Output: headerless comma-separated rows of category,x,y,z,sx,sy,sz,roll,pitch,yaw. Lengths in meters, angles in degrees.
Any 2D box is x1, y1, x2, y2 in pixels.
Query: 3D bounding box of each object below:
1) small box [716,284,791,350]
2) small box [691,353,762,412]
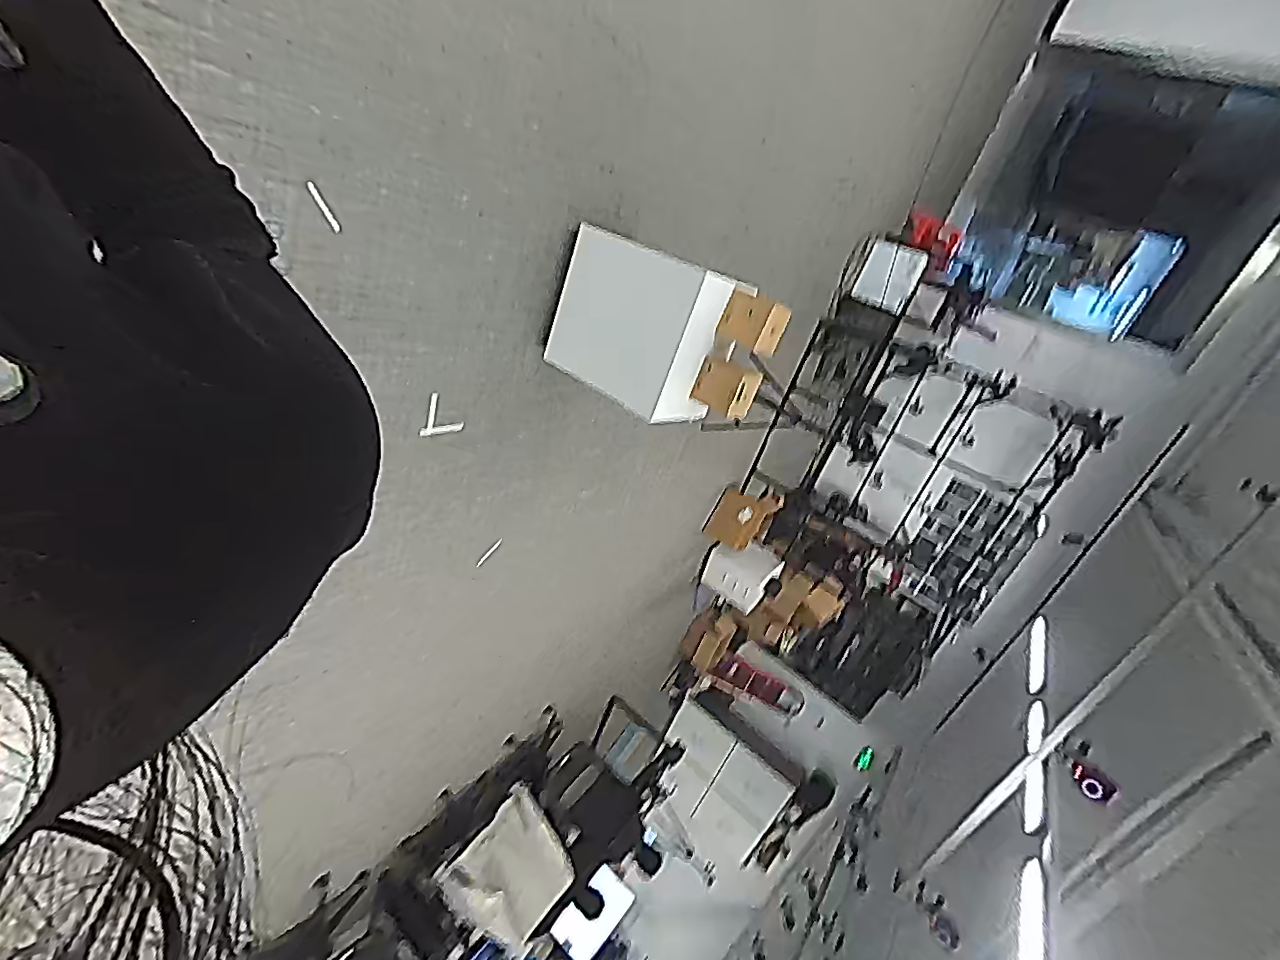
small box,0.394,-0.570,1.891,0.179,0.176,0.168,-10,128,-56
small box,0.314,-0.358,1.987,0.179,0.176,0.168,-13,130,-55
